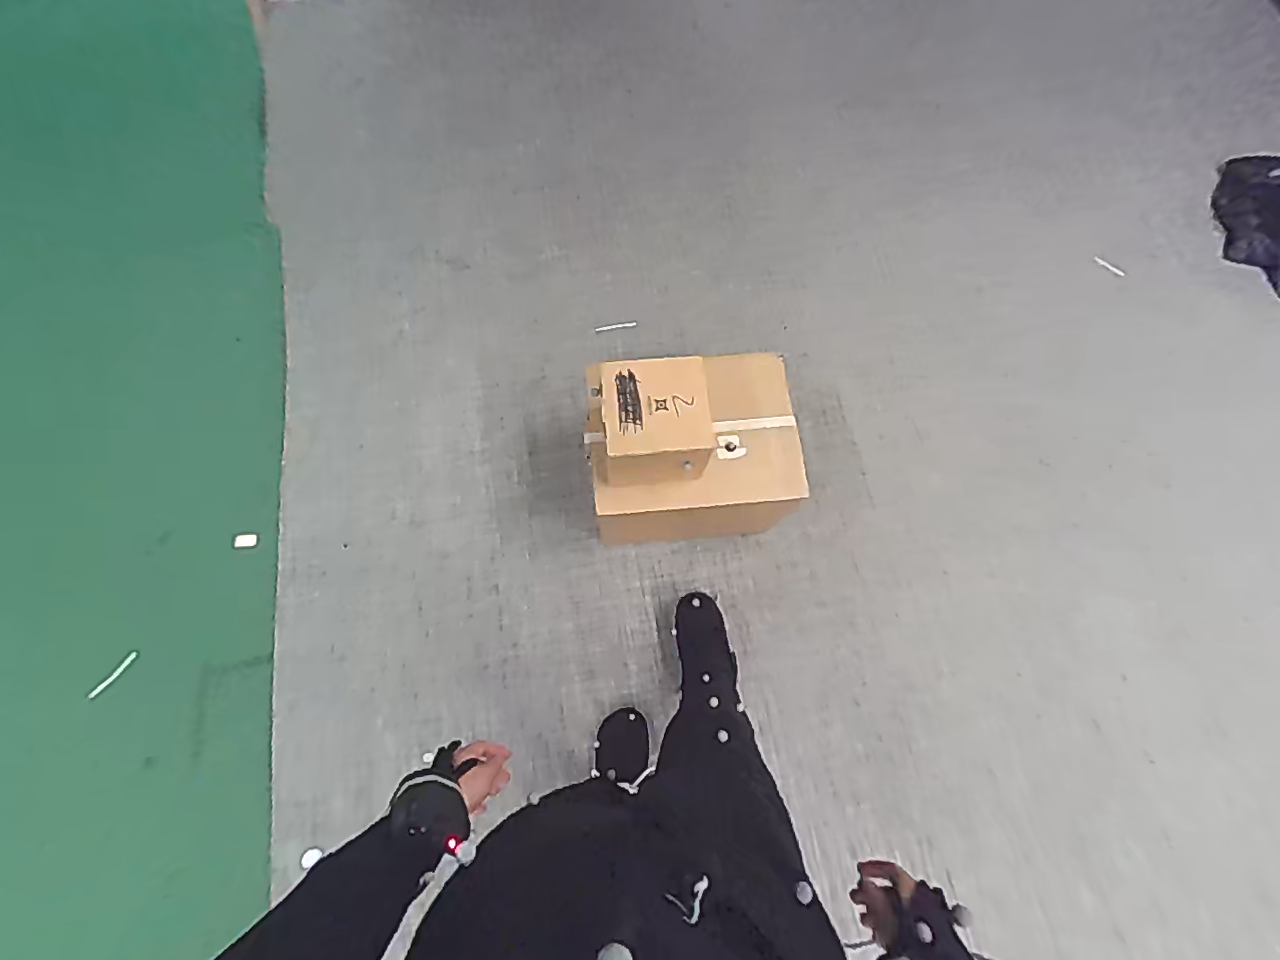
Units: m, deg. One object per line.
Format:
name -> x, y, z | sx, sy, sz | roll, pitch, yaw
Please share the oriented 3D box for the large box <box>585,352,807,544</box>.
large box -> 0.098, -0.054, 1.189 | 0.408, 0.320, 0.320 | -5, 74, -4
